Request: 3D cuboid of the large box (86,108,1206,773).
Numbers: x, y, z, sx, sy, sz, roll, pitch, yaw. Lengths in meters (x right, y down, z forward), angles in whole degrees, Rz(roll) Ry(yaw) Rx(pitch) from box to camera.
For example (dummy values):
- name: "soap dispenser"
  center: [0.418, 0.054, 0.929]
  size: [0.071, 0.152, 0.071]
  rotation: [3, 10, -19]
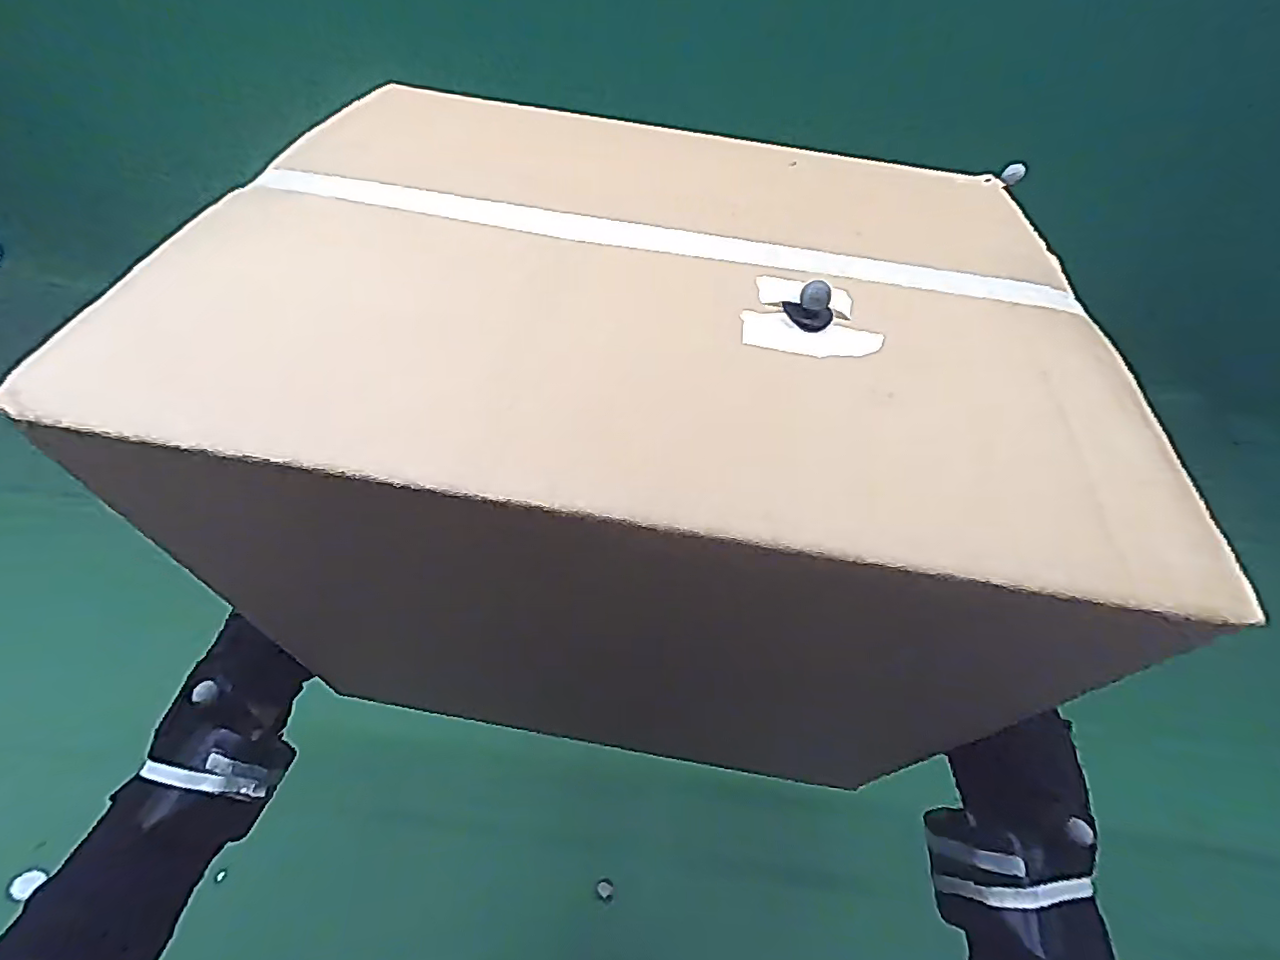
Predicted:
- name: "large box"
  center: [0.005, -0.015, 0.394]
  size: [0.408, 0.320, 0.320]
  rotation: [11, 52, 1]
